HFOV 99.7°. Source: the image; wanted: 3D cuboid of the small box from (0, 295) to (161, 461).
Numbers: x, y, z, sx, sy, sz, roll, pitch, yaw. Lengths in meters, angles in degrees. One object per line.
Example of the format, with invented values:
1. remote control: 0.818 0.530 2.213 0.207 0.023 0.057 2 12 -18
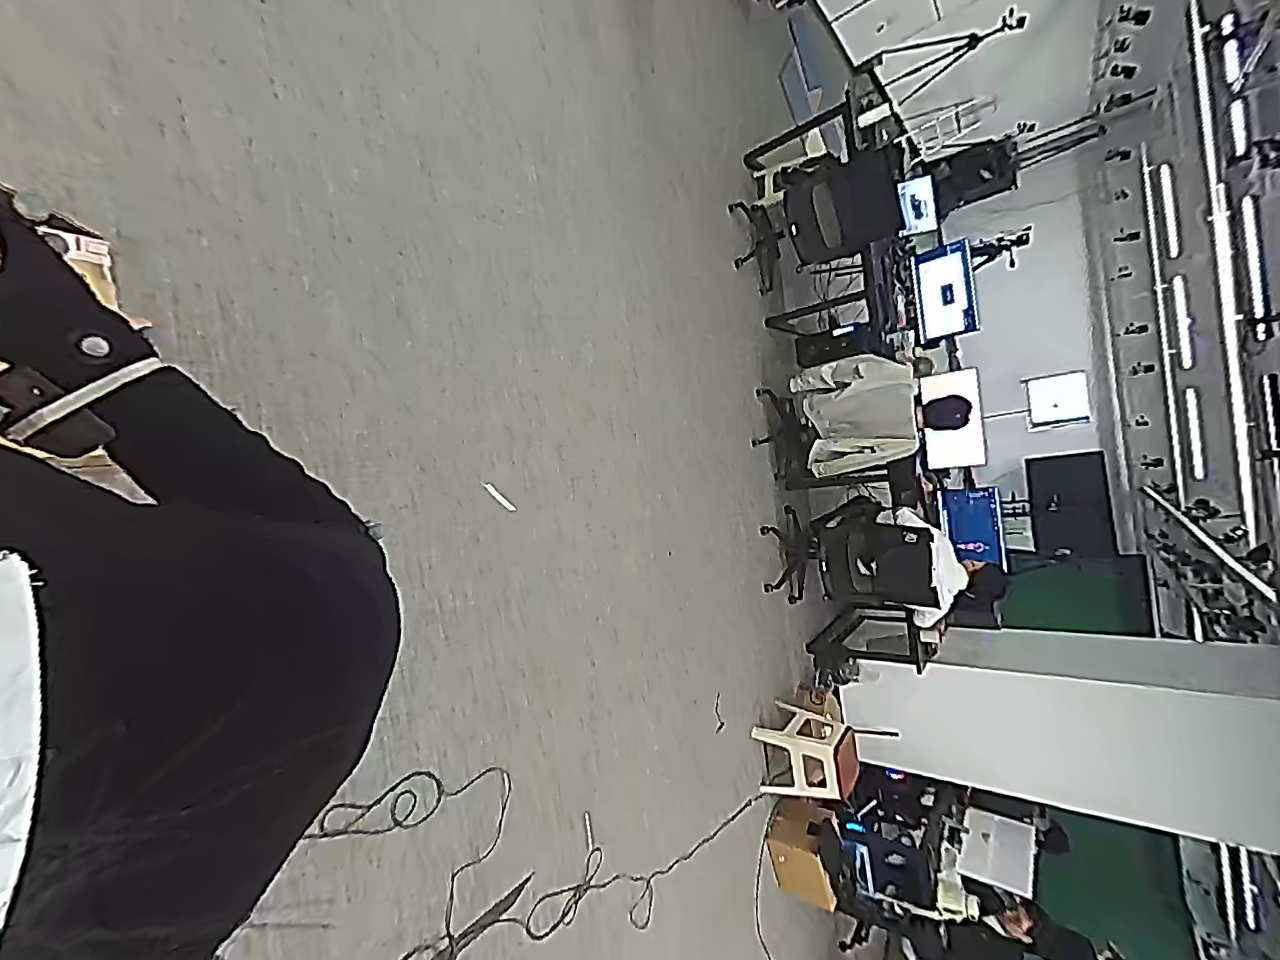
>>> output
1. small box: -0.741 -0.119 0.680 0.168 0.176 0.179 -8 94 -53
